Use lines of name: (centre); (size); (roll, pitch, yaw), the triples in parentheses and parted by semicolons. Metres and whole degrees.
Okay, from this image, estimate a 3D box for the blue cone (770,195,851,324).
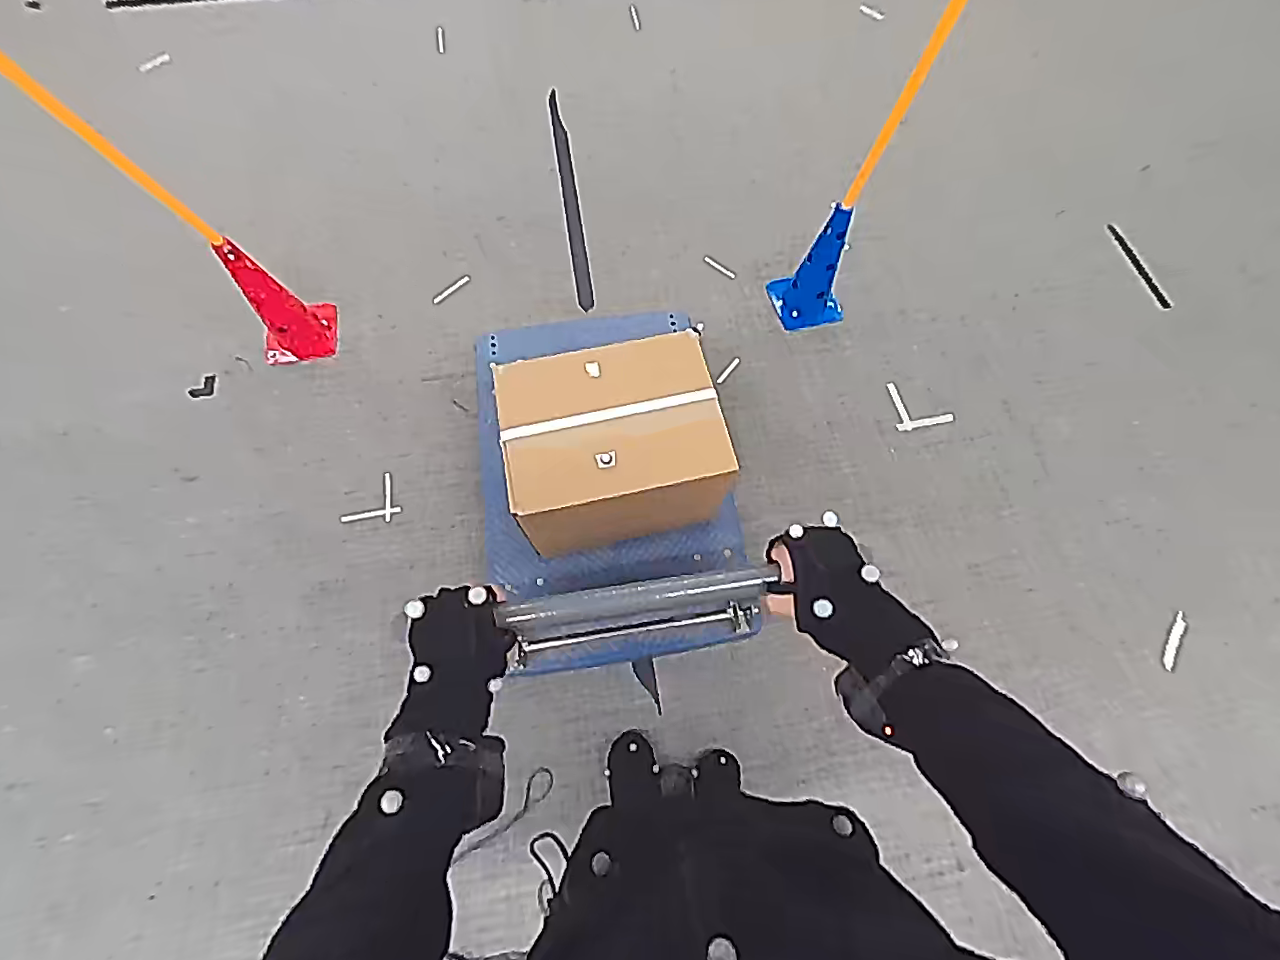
blue cone: (0.526, -0.640, 1.556); (0.193, 0.380, 0.192); (-12, 68, -7)
